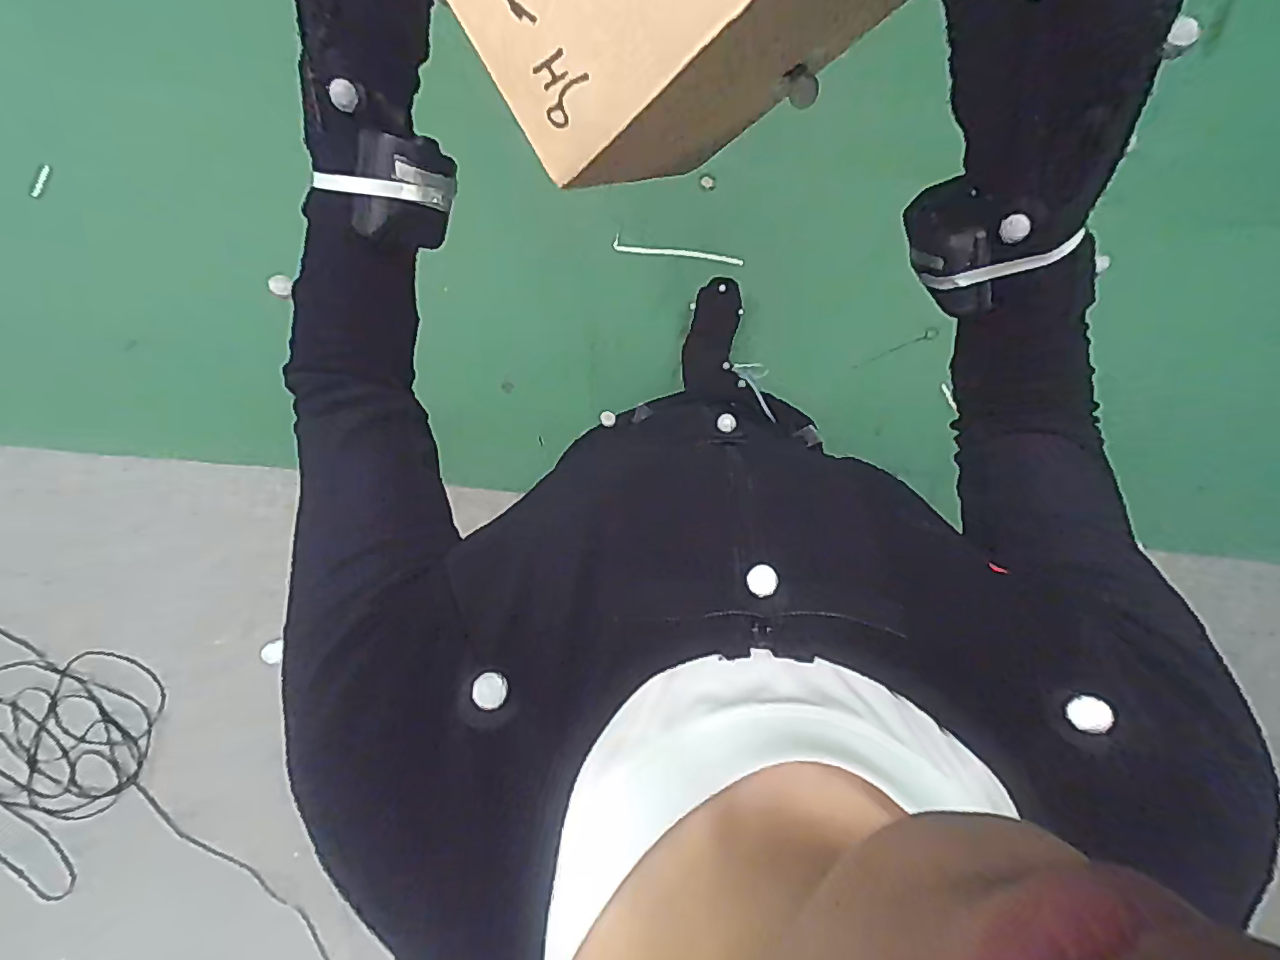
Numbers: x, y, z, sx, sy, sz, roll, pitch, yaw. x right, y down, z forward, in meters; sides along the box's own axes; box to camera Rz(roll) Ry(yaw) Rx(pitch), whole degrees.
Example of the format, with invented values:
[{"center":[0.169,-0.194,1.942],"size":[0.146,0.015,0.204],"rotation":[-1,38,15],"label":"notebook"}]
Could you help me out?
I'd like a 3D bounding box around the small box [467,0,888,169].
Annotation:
[{"center":[0.021,-0.273,0.242],"size":[0.179,0.176,0.168],"rotation":[-23,105,36],"label":"small box"}]
